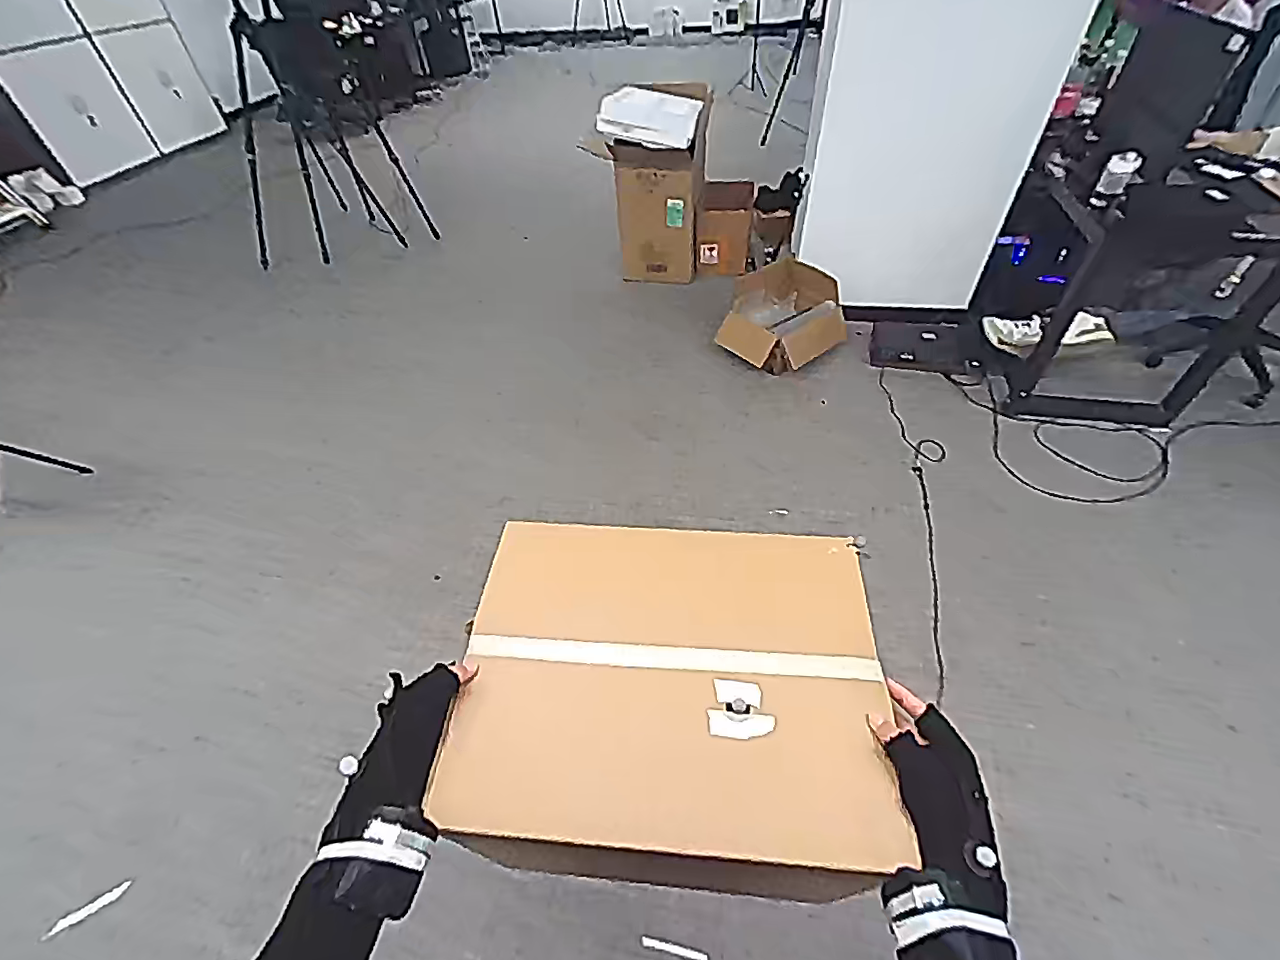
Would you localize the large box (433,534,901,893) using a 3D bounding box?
[{"bbox_3d":[0.030,0.285,0.659,0.408,0.320,0.320,3,50,4],"label":"large box"}]
